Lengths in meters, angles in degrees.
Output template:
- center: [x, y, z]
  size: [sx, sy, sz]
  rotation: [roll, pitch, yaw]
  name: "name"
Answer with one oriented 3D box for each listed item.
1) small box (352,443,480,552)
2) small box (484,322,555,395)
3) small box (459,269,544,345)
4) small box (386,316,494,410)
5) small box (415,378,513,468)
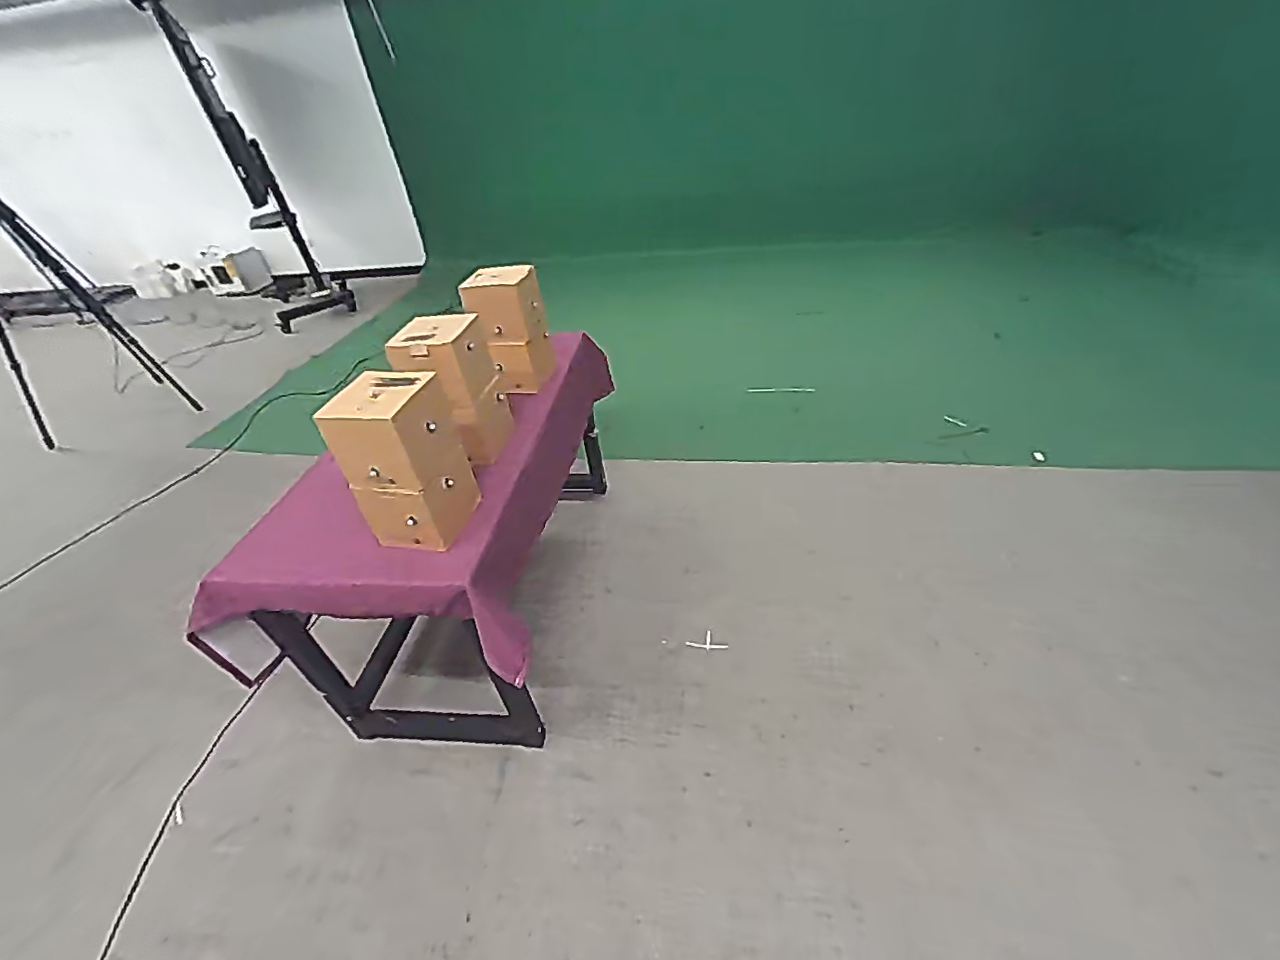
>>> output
- center: [-0.474, 0.037, 1.178]
  size: [0.168, 0.176, 0.179]
  rotation: [4, 39, 14]
  name: "small box"
- center: [-0.380, -0.378, 1.690]
  size: [0.168, 0.176, 0.179]
  rotation: [3, 39, 14]
  name: "small box"
- center: [-0.398, -0.508, 1.591]
  size: [0.179, 0.176, 0.168]
  rotation: [1, 38, 11]
  name: "small box"
- center: [-0.473, -0.280, 1.312]
  size: [0.168, 0.176, 0.179]
  rotation: [-1, 38, 9]
  name: "small box"
- center: [-0.447, -0.150, 1.411]
  size: [0.168, 0.176, 0.179]
  rotation: [0, 38, 12]
  name: "small box"
